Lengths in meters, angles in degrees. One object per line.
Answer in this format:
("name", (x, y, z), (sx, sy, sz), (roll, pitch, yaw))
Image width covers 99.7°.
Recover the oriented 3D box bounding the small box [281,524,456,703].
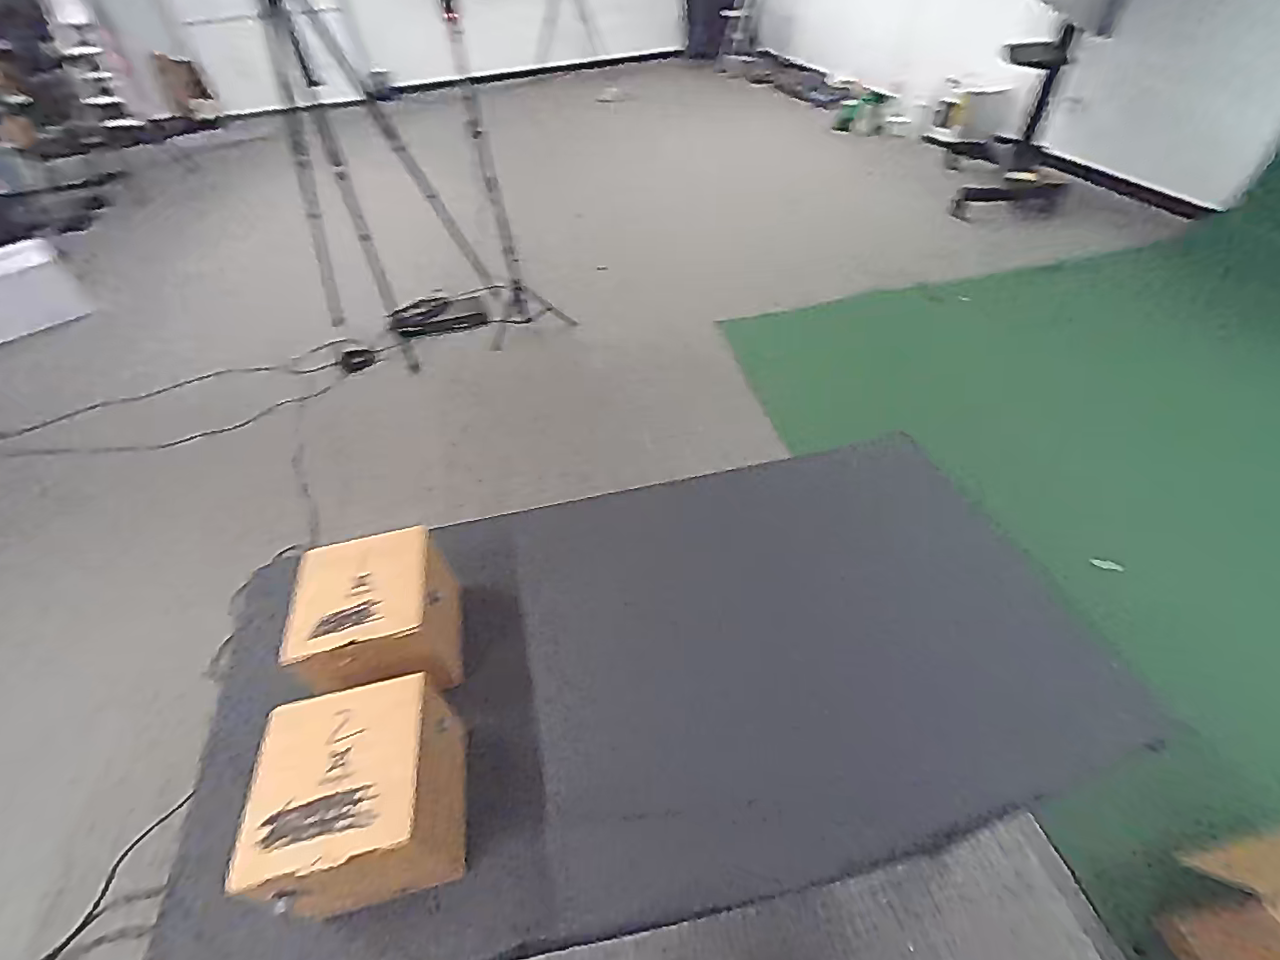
("small box", (-0.368, 0.196, 0.771), (0.168, 0.176, 0.179), (-13, 46, -7))
